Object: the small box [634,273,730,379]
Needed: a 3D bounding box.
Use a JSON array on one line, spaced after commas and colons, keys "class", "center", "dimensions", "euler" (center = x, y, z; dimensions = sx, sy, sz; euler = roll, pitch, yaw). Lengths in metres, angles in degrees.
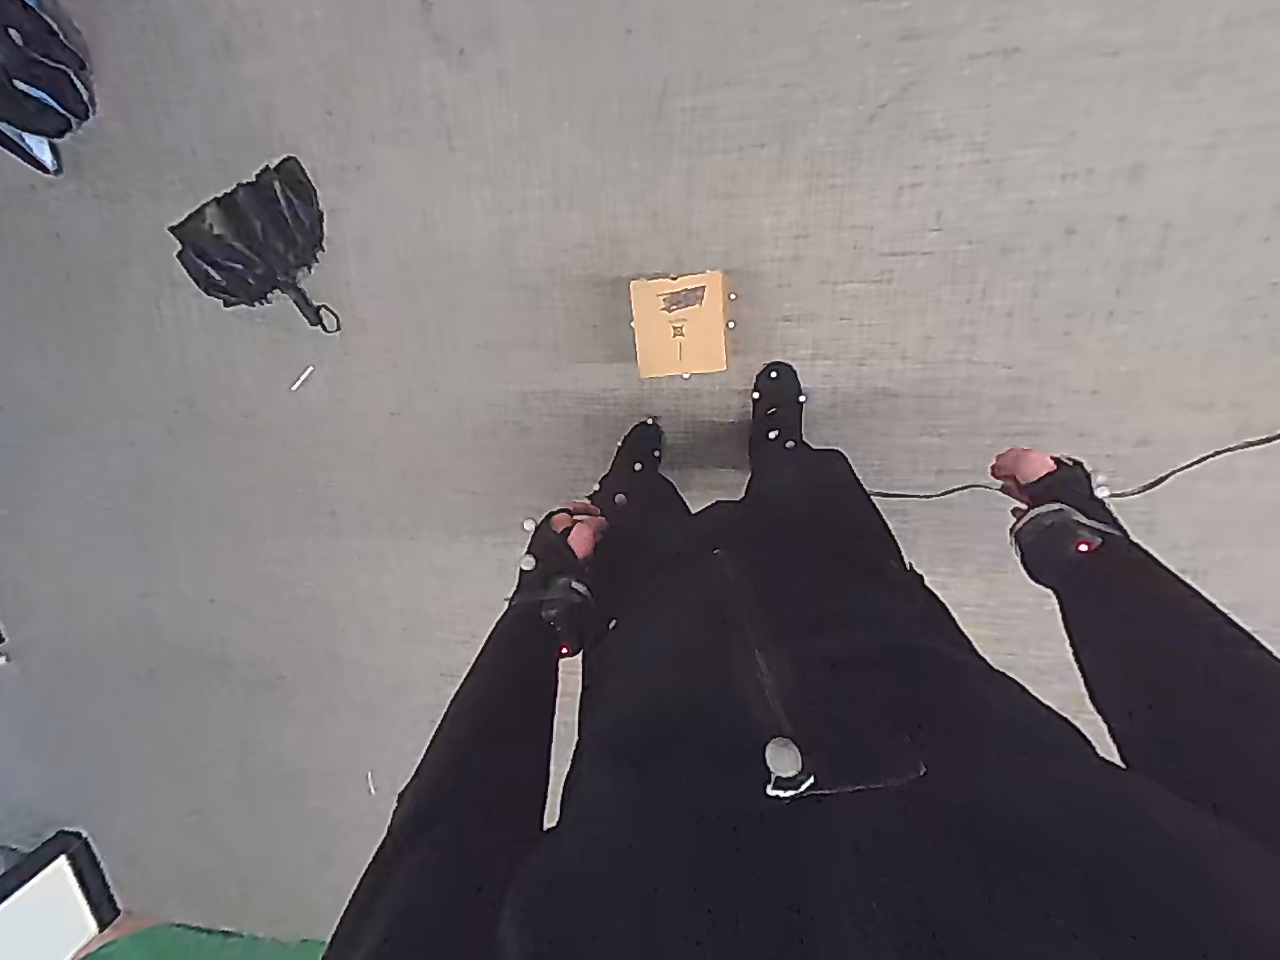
[{"class": "small box", "center": [0.088, -0.297, 1.048], "dimensions": [0.168, 0.176, 0.179], "euler": [-1, 107, 12]}]
